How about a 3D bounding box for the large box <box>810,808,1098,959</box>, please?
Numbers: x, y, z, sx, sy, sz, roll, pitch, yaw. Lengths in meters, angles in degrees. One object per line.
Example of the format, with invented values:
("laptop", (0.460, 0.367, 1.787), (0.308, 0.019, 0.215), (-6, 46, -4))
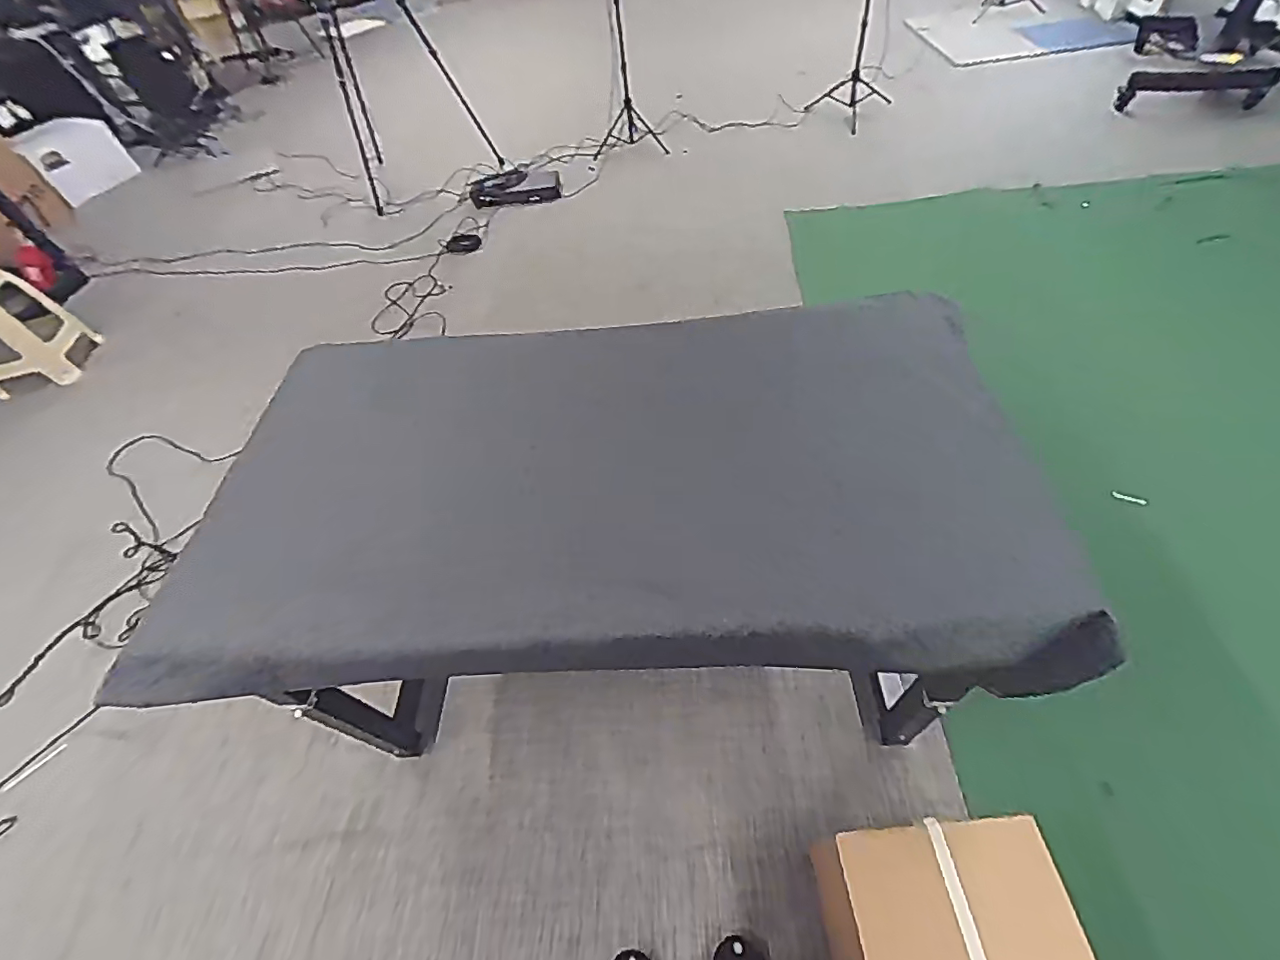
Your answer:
("large box", (0.494, 0.780, 0.854), (0.320, 0.320, 0.408), (-7, 53, 3))
